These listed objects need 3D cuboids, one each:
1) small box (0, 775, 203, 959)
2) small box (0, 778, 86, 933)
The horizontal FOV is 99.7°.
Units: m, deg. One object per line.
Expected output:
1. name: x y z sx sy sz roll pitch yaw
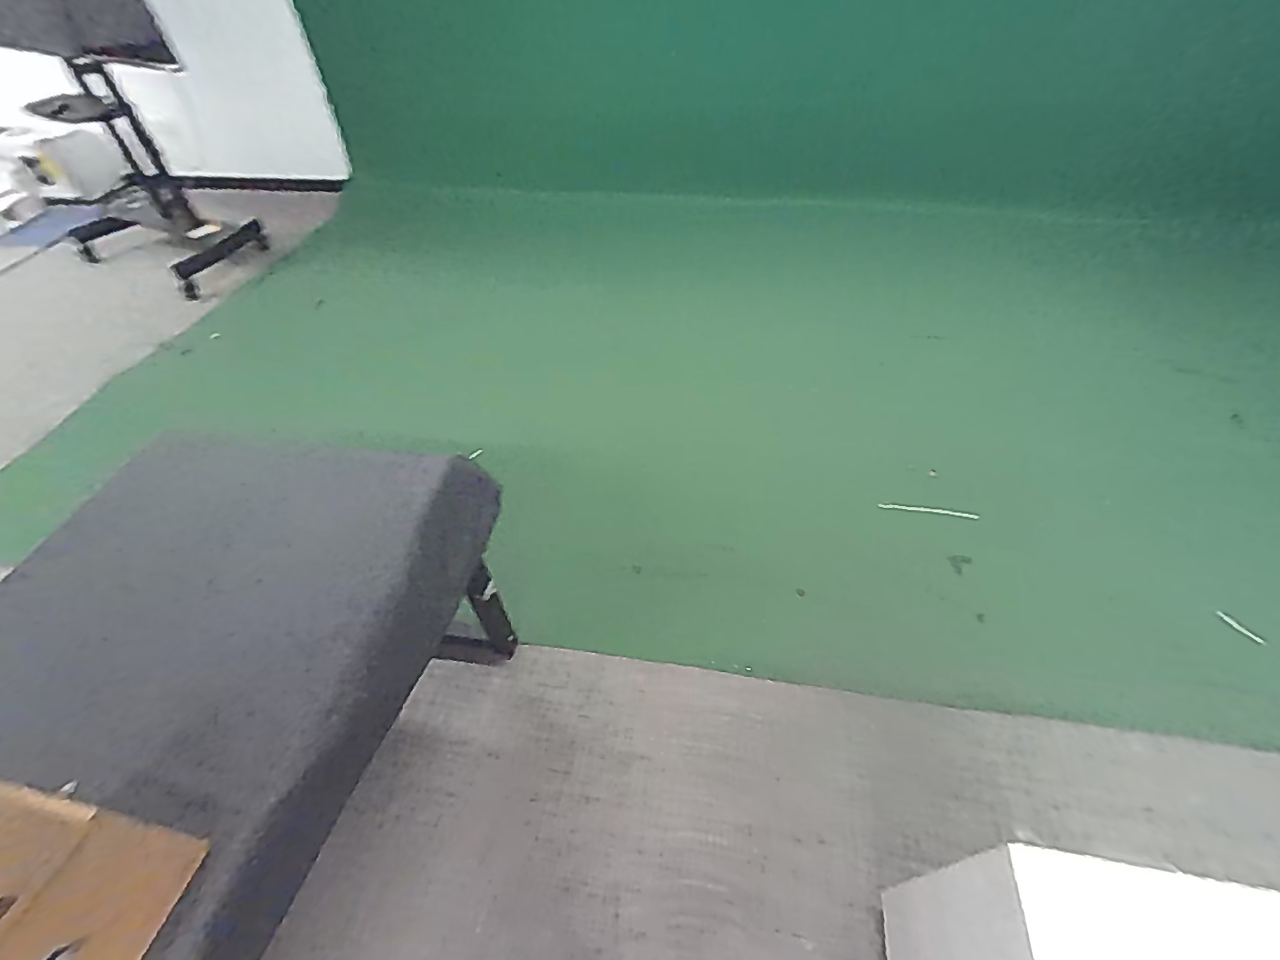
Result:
1. small box: -0.575 0.399 0.502 0.168 0.176 0.179 7 49 10
2. small box: -0.587 0.286 0.383 0.179 0.176 0.168 5 48 11
